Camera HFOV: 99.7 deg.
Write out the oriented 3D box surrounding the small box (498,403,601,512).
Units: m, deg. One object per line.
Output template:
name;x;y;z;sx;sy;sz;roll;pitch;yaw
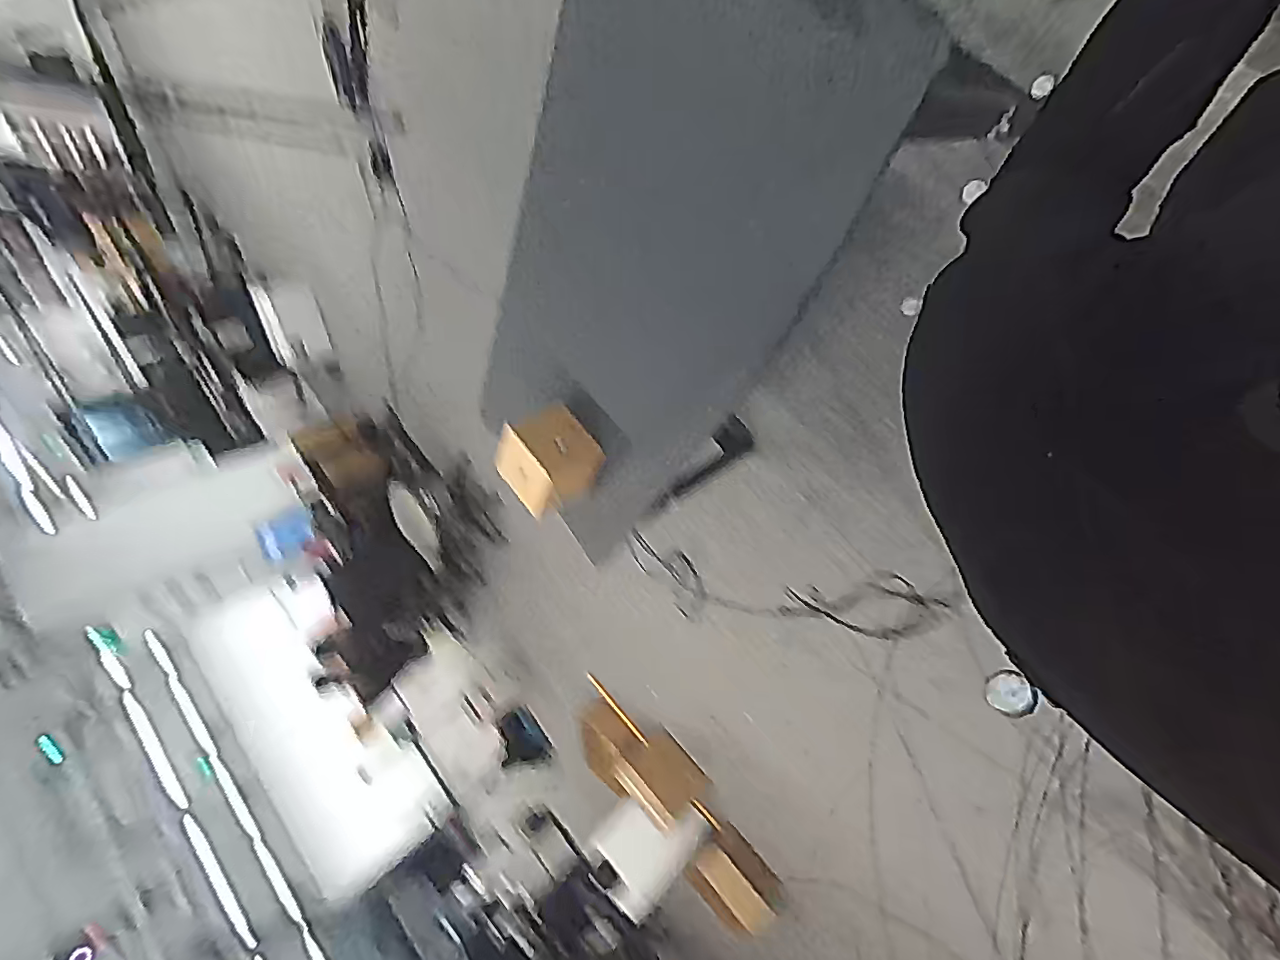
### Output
small box;-0.219;-0.060;1.315;0.168;0.176;0.179;48;142;15
